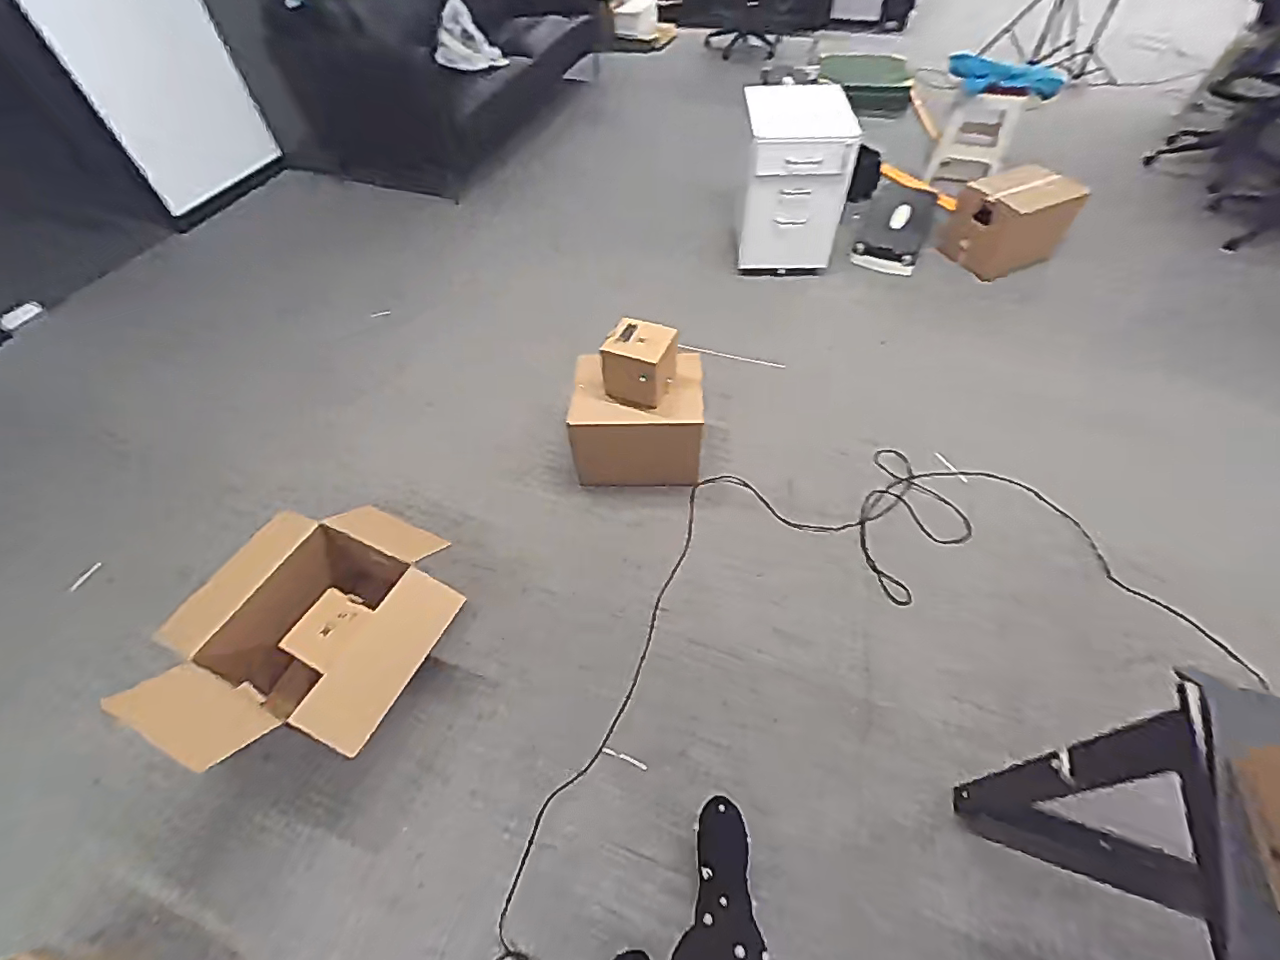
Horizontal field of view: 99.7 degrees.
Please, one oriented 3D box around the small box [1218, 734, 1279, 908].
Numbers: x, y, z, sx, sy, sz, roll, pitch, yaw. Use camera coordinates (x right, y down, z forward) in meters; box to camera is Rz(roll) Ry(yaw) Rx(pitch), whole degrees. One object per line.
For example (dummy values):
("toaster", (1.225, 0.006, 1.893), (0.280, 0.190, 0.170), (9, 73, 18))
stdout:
("small box", (0.755, 0.351, 0.531), (0.179, 0.176, 0.168), (11, 55, 11))
